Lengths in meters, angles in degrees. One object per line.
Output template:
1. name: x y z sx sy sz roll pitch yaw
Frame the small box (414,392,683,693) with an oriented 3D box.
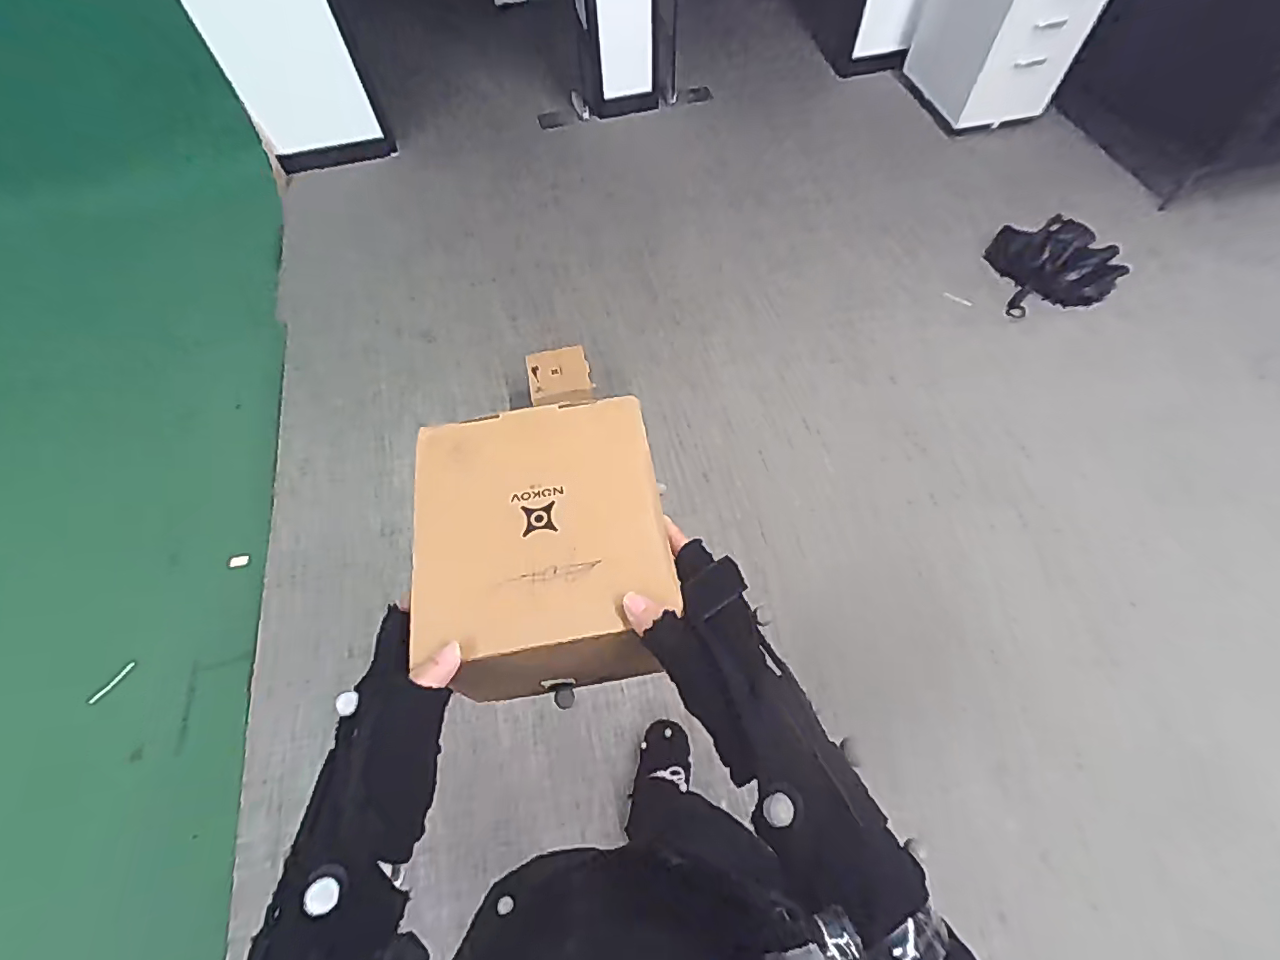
1. small box: -0.066 0.057 0.436 0.168 0.176 0.179 -9 62 -4

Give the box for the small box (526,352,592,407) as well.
1. small box: -0.238 -0.262 1.644 0.179 0.176 0.168 -11 61 -5
